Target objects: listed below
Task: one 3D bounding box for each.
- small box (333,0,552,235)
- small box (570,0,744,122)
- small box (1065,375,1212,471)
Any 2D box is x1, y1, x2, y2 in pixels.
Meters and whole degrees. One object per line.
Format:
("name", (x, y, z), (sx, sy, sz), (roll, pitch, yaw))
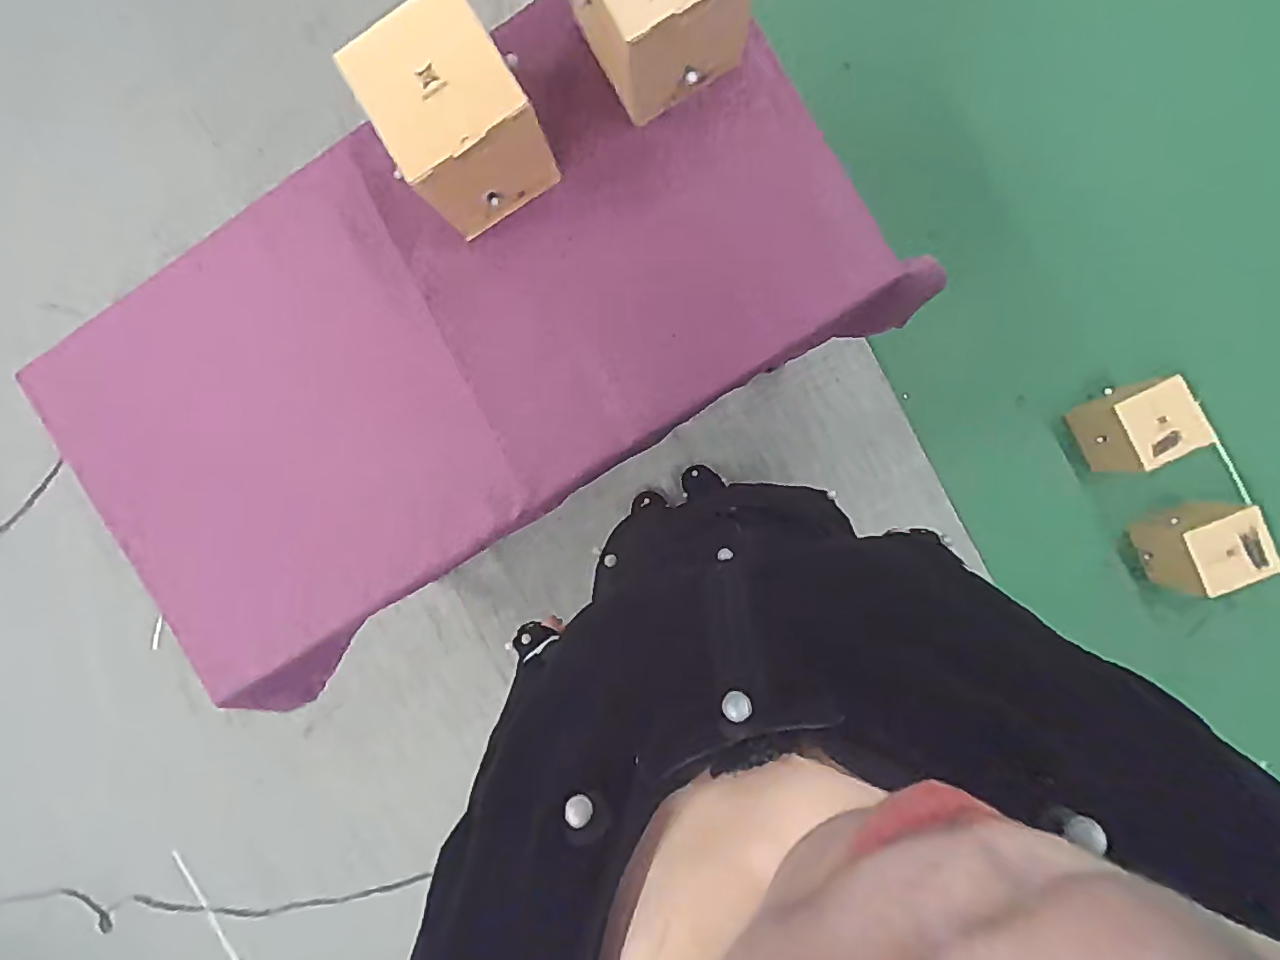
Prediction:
("small box", (-0.238, -0.459, 0.697), (0.168, 0.176, 0.179), (-31, 91, 5))
("small box", (0.012, -0.600, 0.666), (0.168, 0.176, 0.179), (-29, 93, 6))
("small box", (1.211, -0.135, 1.328), (0.168, 0.176, 0.179), (-27, 89, 5))
